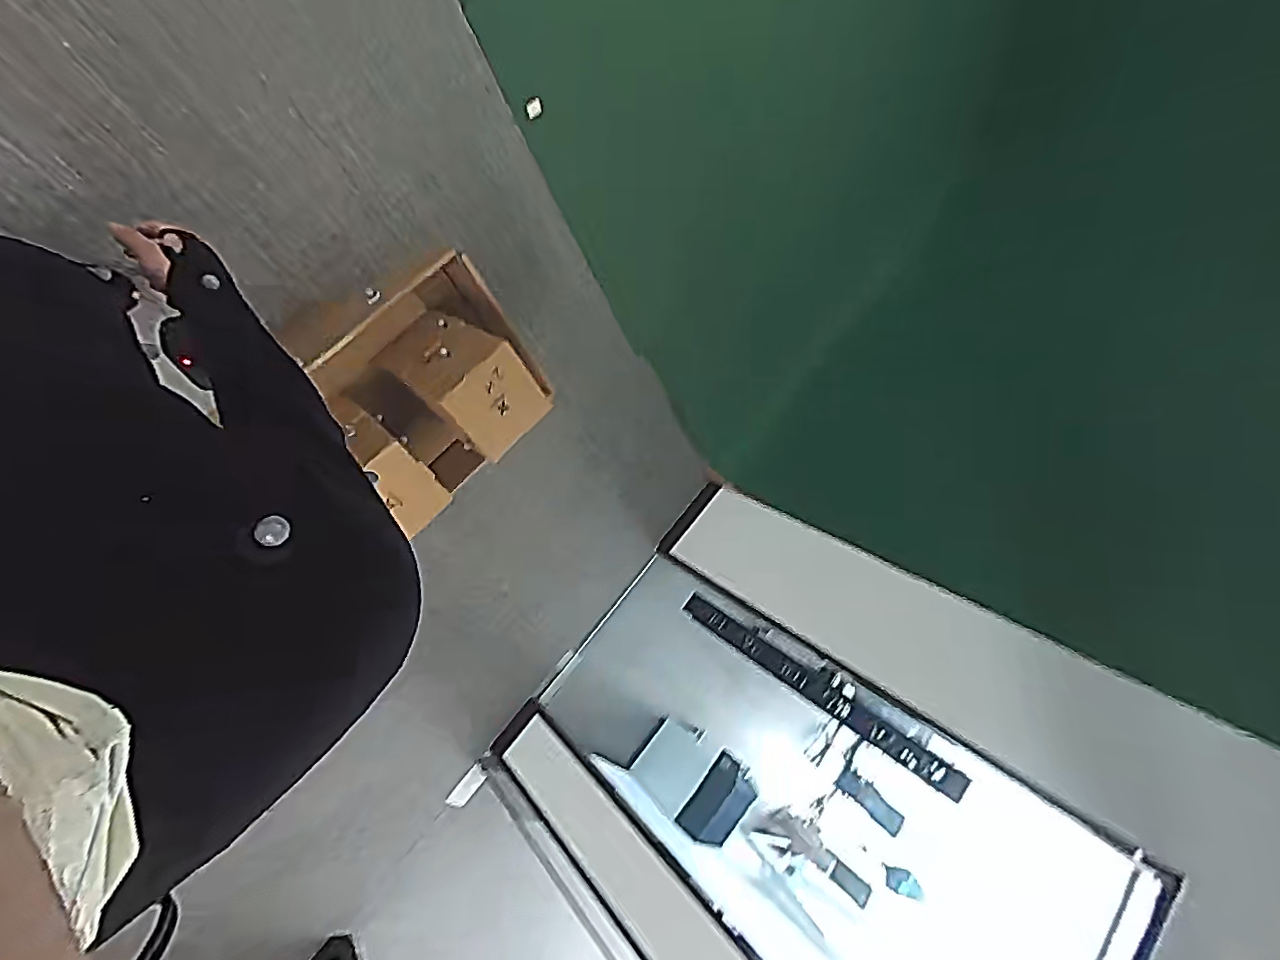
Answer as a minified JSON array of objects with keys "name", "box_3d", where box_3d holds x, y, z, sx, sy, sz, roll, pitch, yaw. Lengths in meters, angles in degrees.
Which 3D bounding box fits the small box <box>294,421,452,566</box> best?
[{"name":"small box","box_3d":[-0.492,0.017,0.995,0.179,0.176,0.168,-46,136,-16]}]

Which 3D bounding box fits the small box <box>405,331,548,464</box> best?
[{"name":"small box","box_3d":[-0.320,-0.168,1.065,0.168,0.176,0.179,-48,138,-16]}]
